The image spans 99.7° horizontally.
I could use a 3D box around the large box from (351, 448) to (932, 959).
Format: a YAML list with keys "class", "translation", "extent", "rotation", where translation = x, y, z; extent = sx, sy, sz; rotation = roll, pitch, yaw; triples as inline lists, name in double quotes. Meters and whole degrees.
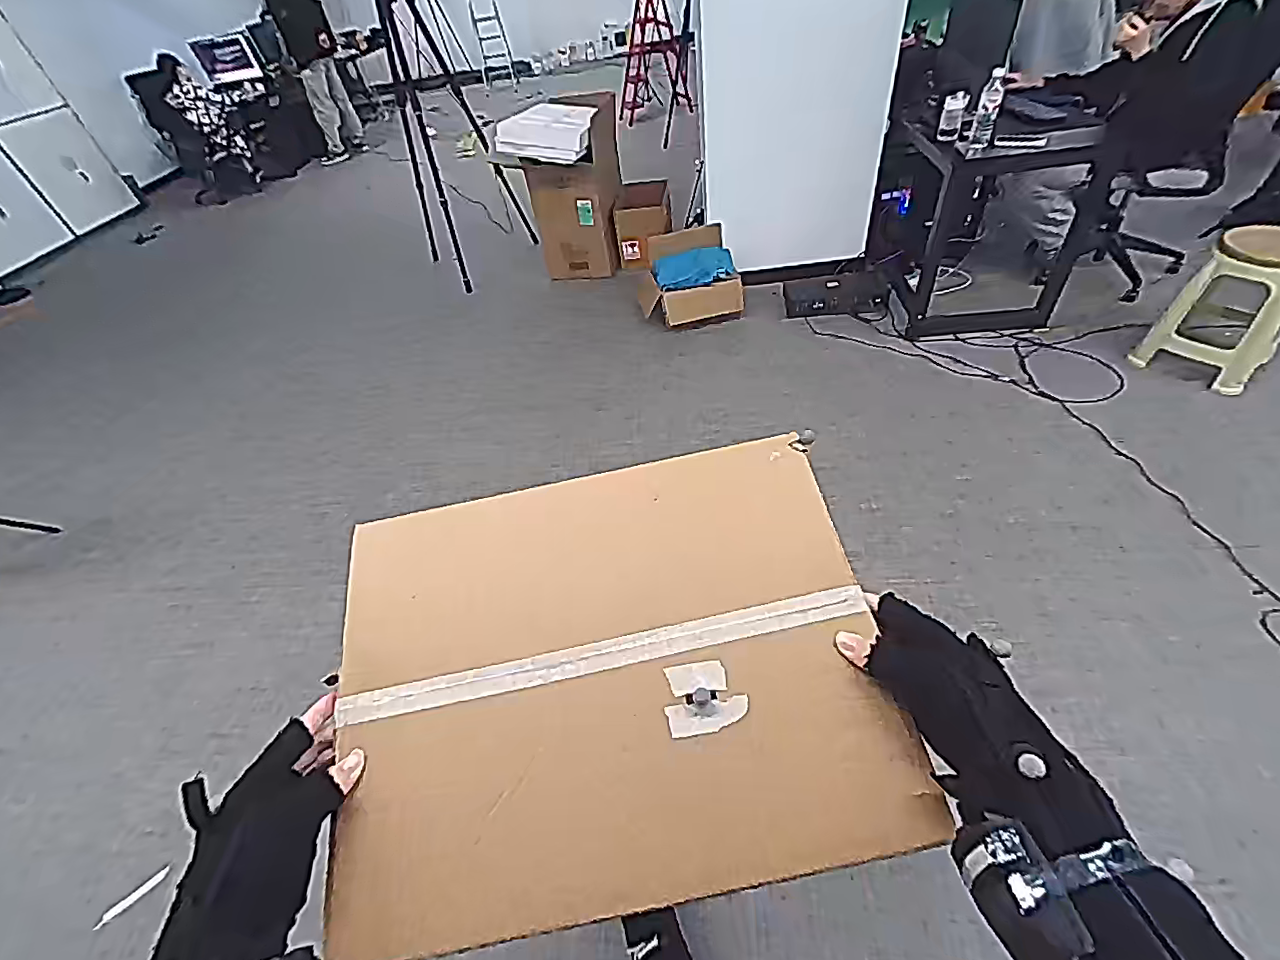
- class: "large box"
  translation: [-0.013, 0.214, 0.557]
  extent: [0.408, 0.320, 0.320]
  rotation: [-12, 61, -1]
